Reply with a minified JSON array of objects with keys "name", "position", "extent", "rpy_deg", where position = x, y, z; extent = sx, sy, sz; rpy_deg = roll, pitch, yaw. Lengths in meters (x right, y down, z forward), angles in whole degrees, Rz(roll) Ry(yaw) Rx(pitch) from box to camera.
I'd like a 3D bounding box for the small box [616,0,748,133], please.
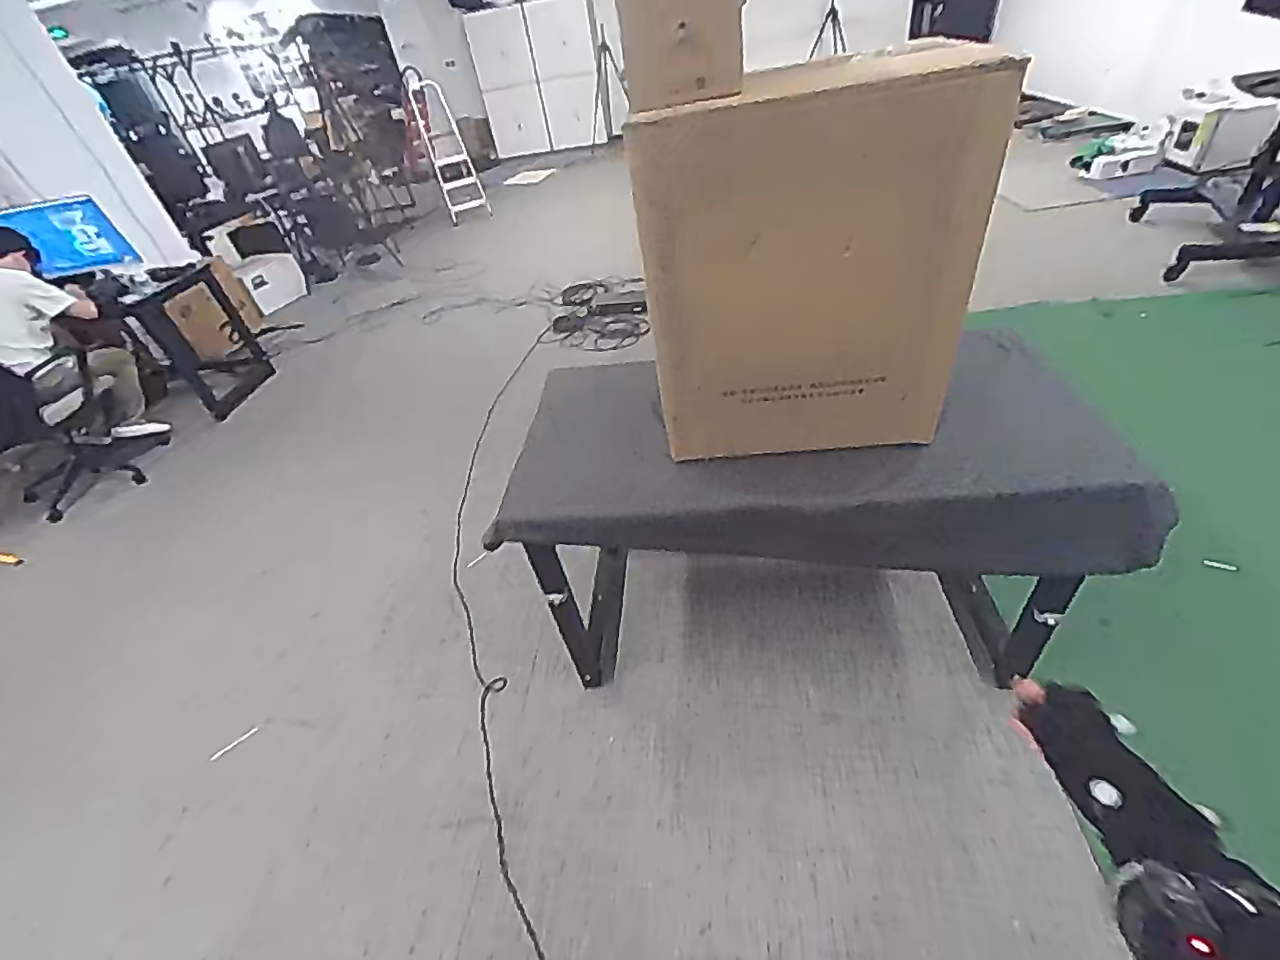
[{"name":"small box","position":[0.064,-0.633,0.798],"extent":[0.168,0.176,0.179],"rpy_deg":[-8,42,7]}]
